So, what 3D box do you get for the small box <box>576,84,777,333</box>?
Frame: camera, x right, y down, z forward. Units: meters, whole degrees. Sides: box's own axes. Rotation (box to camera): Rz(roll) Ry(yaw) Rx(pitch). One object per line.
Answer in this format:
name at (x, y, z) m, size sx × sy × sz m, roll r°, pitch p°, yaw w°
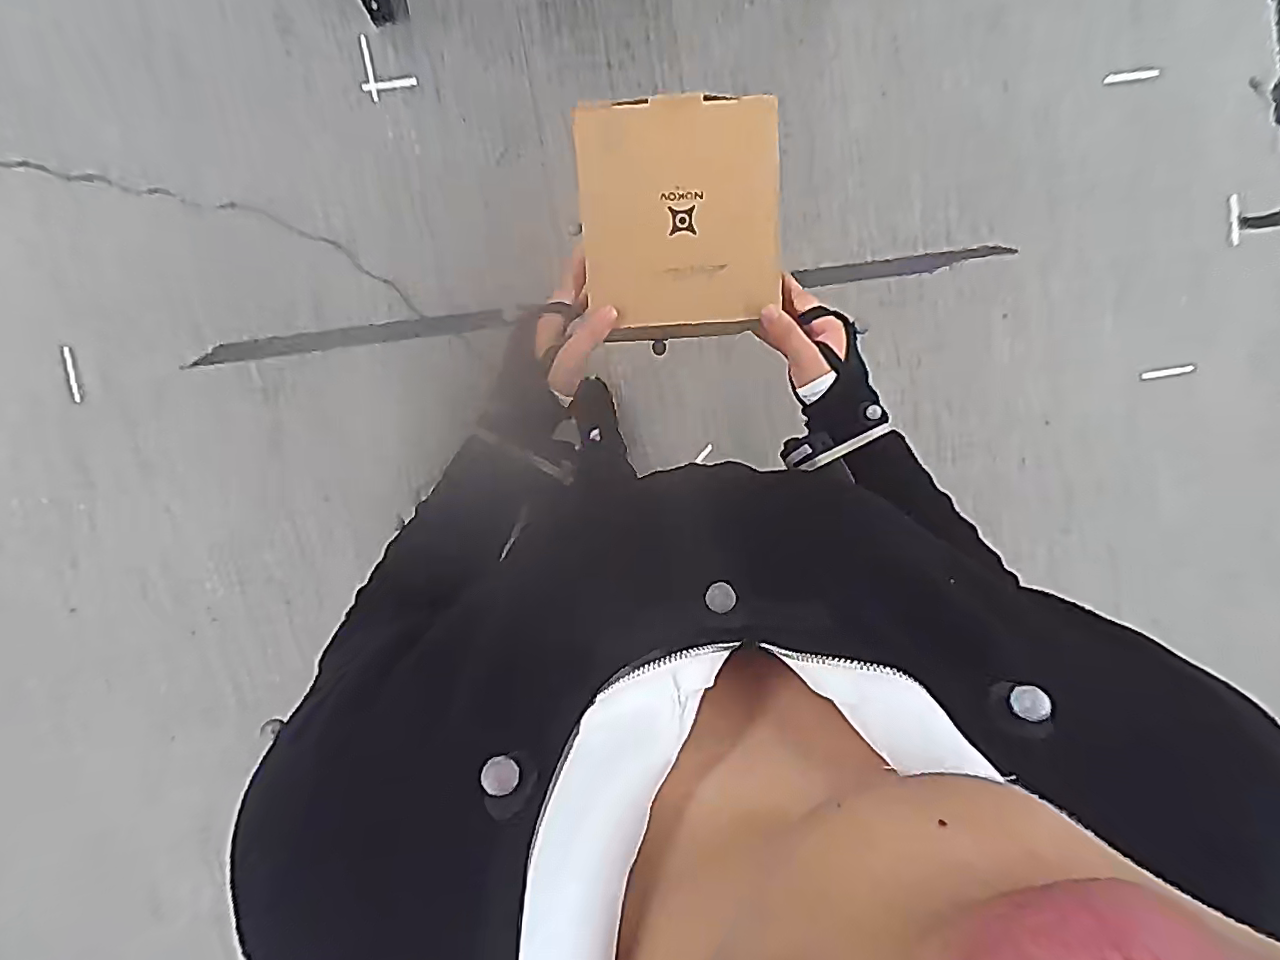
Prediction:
small box at (0.027, -0.244, 0.525) m, size 0.168 × 0.176 × 0.179 m, roll -4°, pitch 101°, yaw -3°
